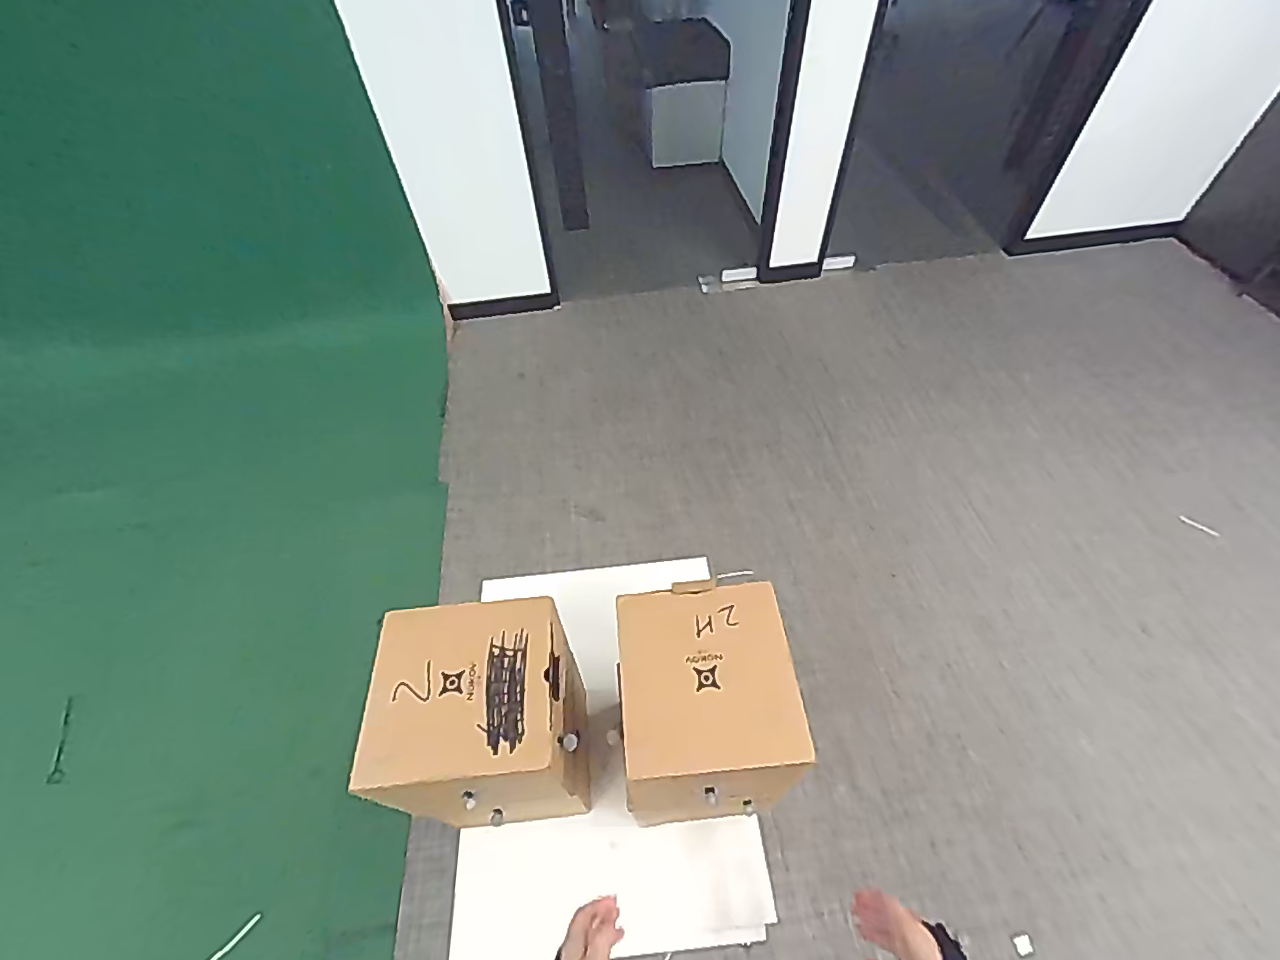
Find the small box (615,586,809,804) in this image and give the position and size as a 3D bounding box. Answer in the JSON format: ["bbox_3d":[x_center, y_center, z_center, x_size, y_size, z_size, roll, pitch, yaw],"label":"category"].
[{"bbox_3d":[0.064,0.234,0.575,0.168,0.176,0.179,-4,52,-1],"label":"small box"}]

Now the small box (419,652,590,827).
[{"bbox_3d":[-0.164,0.343,0.709,0.179,0.176,0.168,-5,52,-3],"label":"small box"}]
